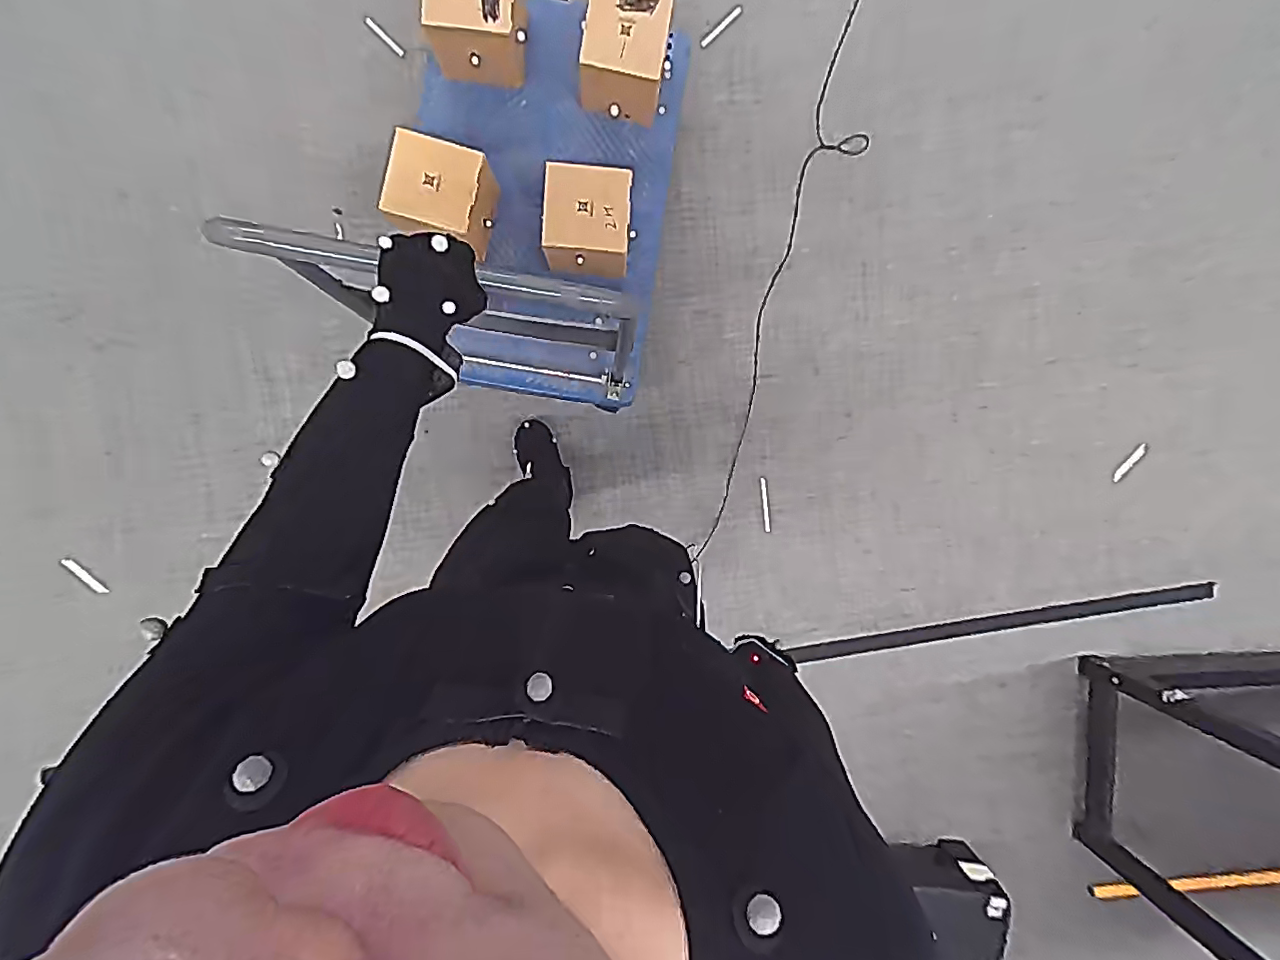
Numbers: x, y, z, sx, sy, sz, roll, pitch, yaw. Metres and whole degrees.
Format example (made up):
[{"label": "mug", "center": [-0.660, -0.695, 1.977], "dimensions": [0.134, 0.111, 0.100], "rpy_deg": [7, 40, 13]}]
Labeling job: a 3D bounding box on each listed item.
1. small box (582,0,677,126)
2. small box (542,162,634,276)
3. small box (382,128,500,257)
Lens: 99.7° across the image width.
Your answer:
[{"label": "small box", "center": [-0.026, -0.902, 1.146], "dimensions": [0.168, 0.176, 0.179], "rpy_deg": [10, 94, -4]}, {"label": "small box", "center": [-0.108, -0.553, 1.166], "dimensions": [0.179, 0.176, 0.168], "rpy_deg": [4, 94, -4]}, {"label": "small box", "center": [-0.412, -0.596, 1.146], "dimensions": [0.179, 0.176, 0.168], "rpy_deg": [14, 93, -6]}]
